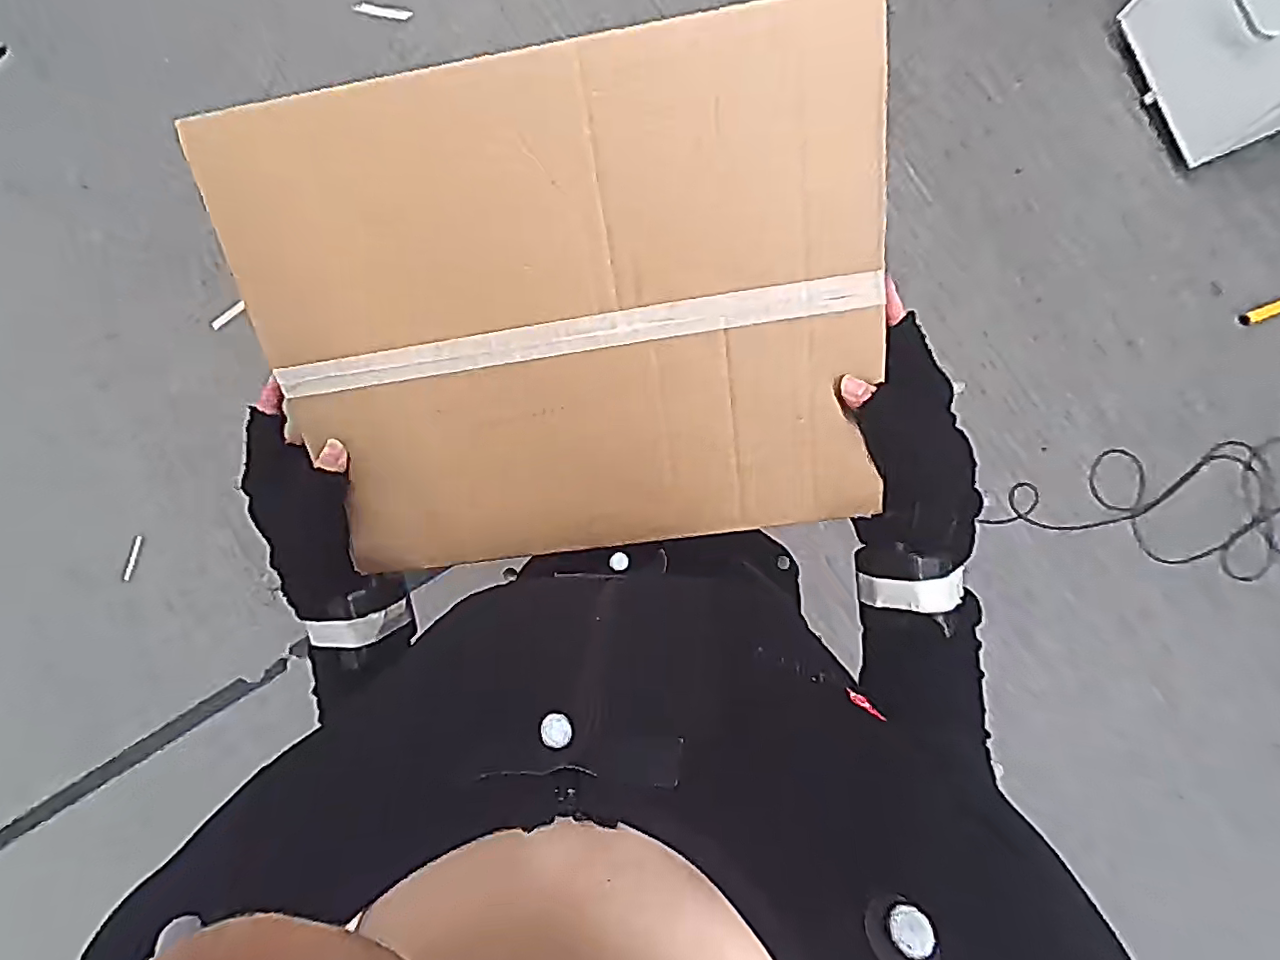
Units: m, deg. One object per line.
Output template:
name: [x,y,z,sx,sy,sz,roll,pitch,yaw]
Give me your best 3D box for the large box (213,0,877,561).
large box: [-0.041,-0.153,0.502,0.408,0.320,0.320,-7,113,5]
